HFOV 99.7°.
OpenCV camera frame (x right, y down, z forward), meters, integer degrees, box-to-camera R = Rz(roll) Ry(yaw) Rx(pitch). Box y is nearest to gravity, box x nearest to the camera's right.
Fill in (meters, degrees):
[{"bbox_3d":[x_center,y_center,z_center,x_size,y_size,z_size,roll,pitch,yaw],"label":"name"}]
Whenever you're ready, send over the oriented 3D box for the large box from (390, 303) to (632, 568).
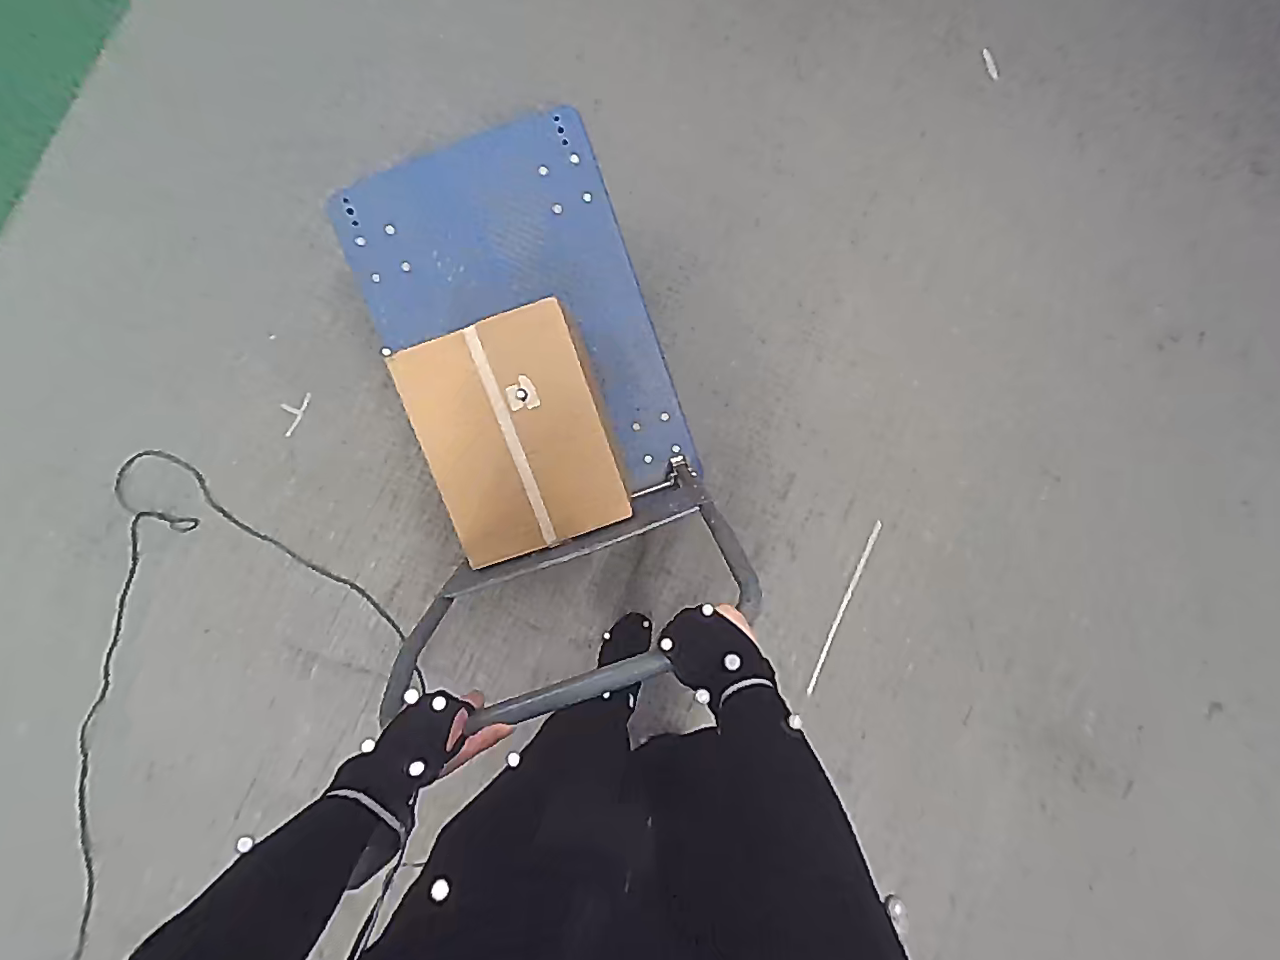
[{"bbox_3d":[-0.224,-0.091,1.102,0.320,0.320,0.408,-19,98,1],"label":"large box"}]
